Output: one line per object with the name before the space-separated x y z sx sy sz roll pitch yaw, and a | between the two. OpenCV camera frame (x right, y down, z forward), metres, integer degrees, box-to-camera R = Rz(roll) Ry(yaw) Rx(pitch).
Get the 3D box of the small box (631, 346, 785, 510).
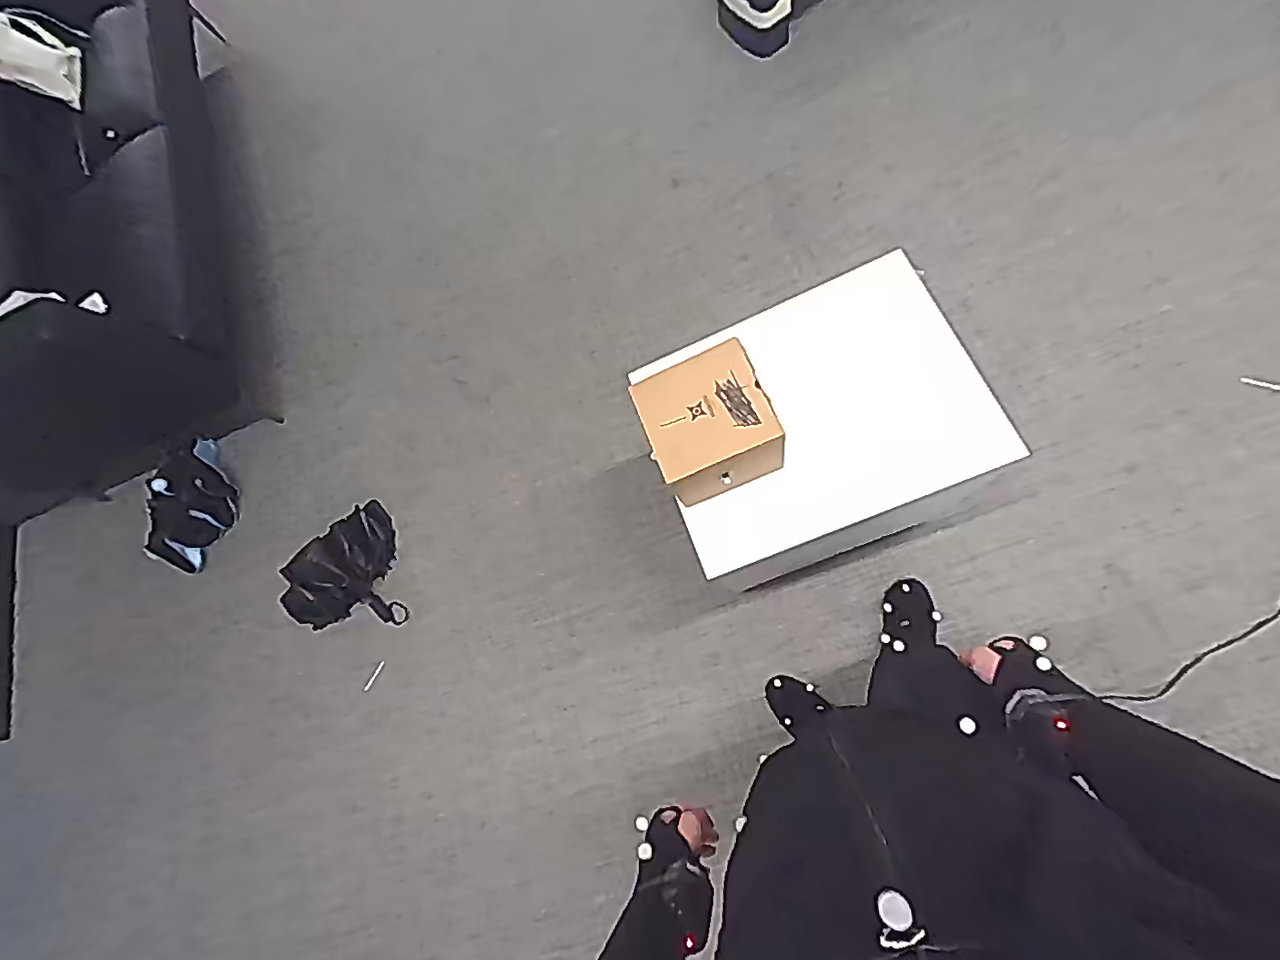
small box | 0.109 -0.070 0.832 0.179 0.176 0.168 -23 71 8
